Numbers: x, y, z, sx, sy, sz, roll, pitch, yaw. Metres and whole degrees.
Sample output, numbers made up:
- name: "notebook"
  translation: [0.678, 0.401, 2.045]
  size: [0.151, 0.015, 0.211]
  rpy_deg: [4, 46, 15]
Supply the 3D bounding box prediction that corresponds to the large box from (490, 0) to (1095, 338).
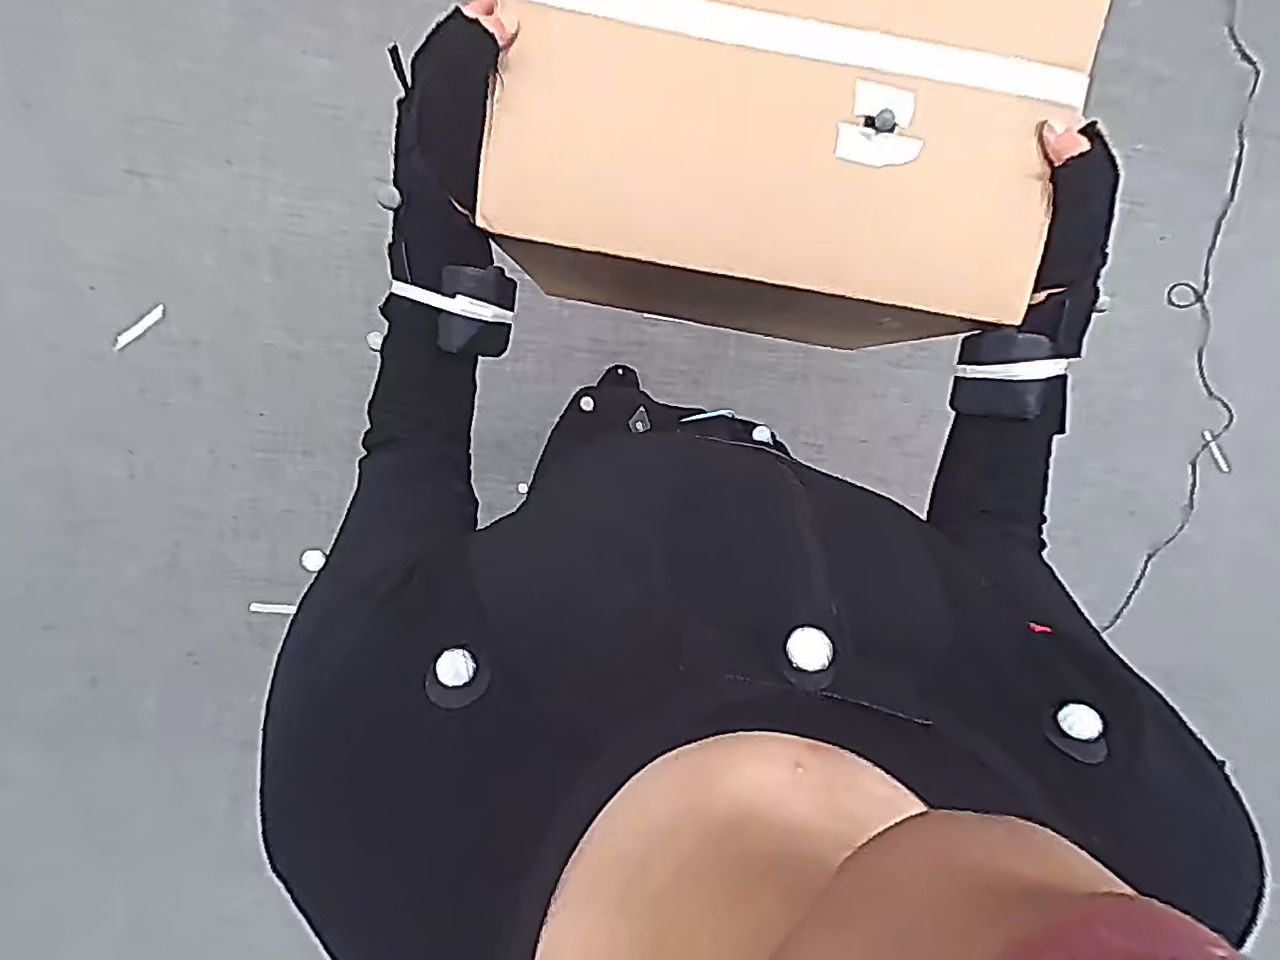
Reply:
- name: "large box"
  translation: [0.102, -0.331, 0.520]
  size: [0.408, 0.320, 0.320]
  rpy_deg: [9, 102, -4]
